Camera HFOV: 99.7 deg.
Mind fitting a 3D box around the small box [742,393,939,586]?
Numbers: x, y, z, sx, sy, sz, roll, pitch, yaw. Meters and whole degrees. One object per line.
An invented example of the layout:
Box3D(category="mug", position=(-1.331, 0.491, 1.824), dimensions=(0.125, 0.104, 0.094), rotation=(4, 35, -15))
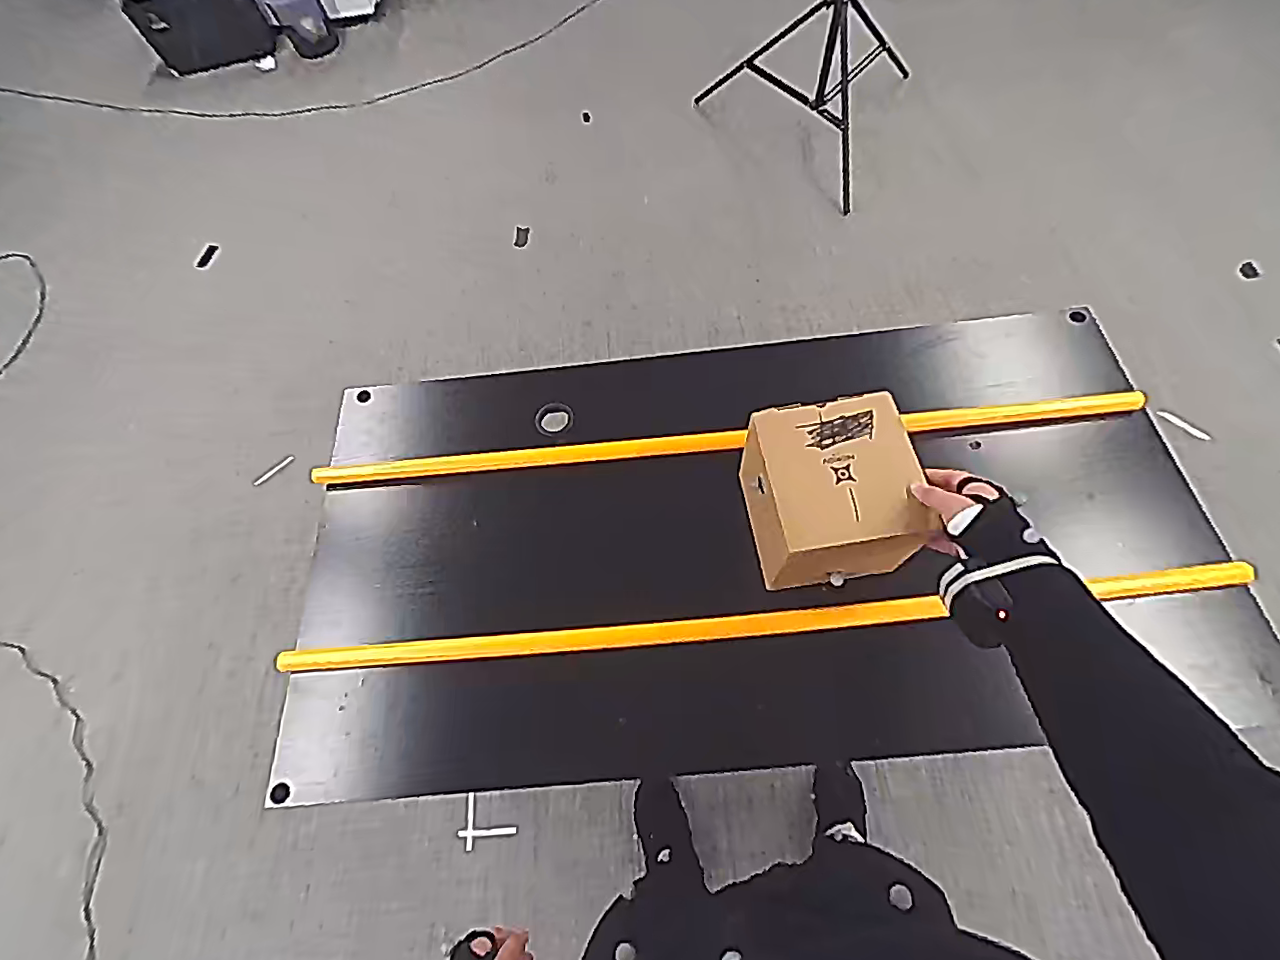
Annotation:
Box3D(category="small box", position=(0.230, 0.018, 0.677), dimensions=(0.168, 0.176, 0.179), rotation=(-9, 65, 1))
